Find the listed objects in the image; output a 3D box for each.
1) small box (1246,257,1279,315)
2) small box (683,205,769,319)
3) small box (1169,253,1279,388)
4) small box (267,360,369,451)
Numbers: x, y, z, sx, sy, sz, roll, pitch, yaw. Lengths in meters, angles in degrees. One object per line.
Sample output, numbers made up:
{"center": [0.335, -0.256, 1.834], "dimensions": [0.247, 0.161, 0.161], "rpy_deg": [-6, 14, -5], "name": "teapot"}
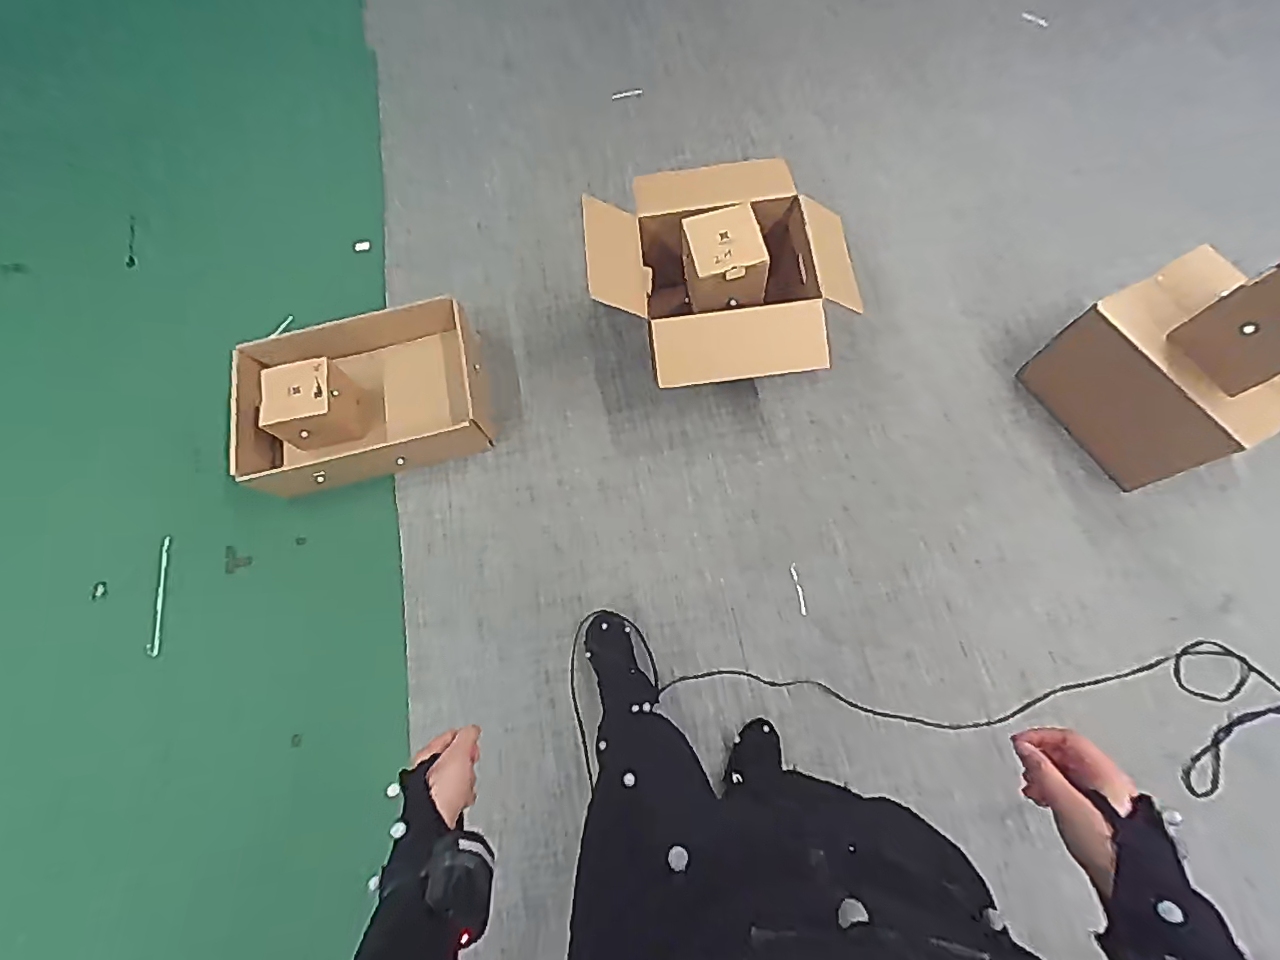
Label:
{"center": [1.206, -0.351, 0.893], "dimensions": [0.168, 0.176, 0.179], "rpy_deg": [-29, 71, -3], "name": "small box"}
{"center": [0.206, -0.531, 1.332], "dimensions": [0.168, 0.176, 0.179], "rpy_deg": [-14, 71, 3], "name": "small box"}
{"center": [1.215, -0.312, 1.052], "dimensions": [0.168, 0.176, 0.179], "rpy_deg": [-29, 72, -4], "name": "small box"}
{"center": [-0.857, -0.192, 1.452], "dimensions": [0.179, 0.176, 0.168], "rpy_deg": [-12, 70, 0], "name": "small box"}
